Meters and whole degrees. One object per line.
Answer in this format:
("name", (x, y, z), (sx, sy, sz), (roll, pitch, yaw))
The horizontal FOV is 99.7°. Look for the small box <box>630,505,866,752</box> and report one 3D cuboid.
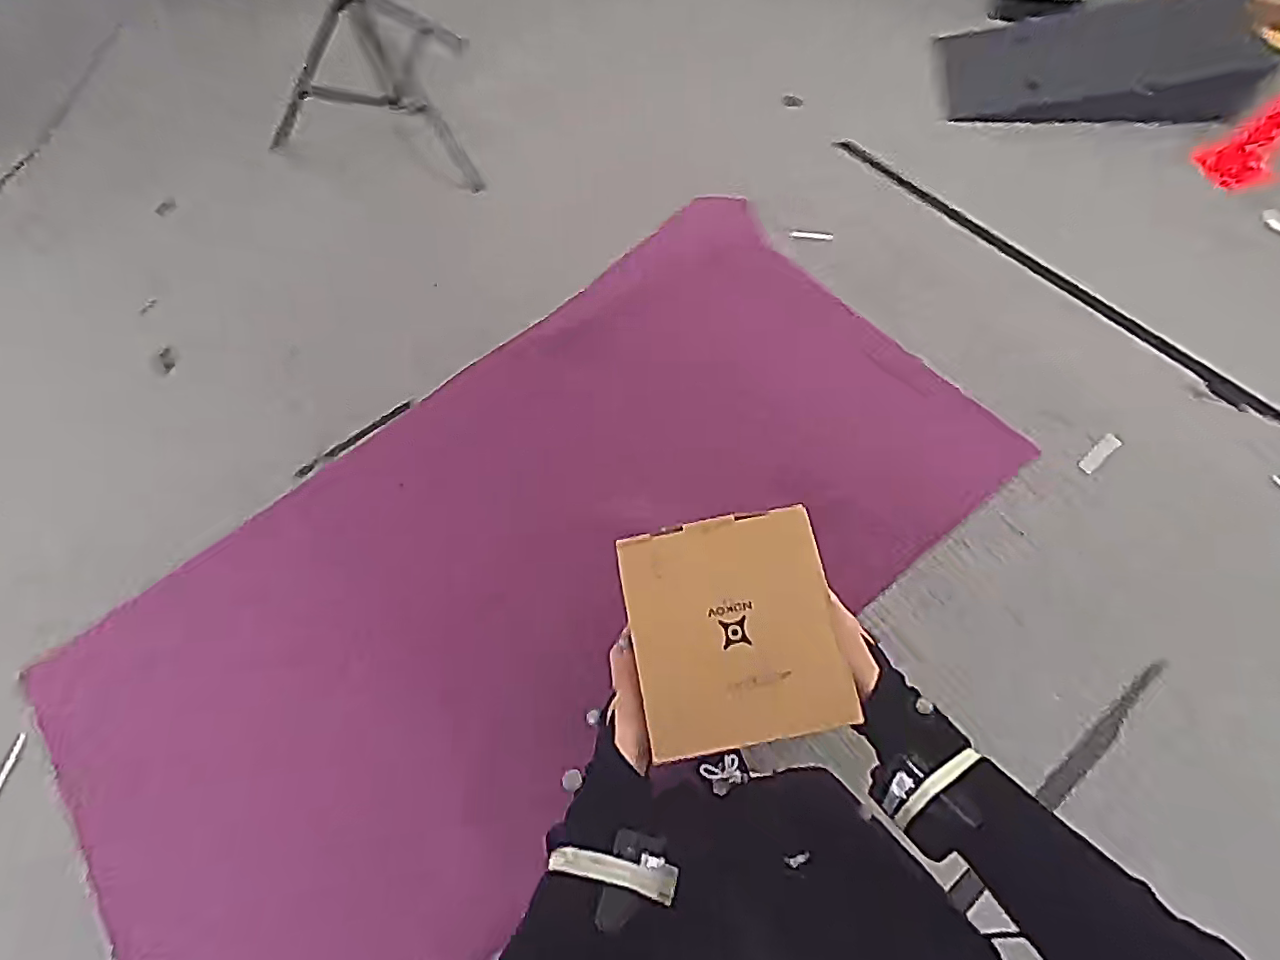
("small box", (0.084, 0.135, 0.512), (0.168, 0.176, 0.179), (-9, 76, 0))
